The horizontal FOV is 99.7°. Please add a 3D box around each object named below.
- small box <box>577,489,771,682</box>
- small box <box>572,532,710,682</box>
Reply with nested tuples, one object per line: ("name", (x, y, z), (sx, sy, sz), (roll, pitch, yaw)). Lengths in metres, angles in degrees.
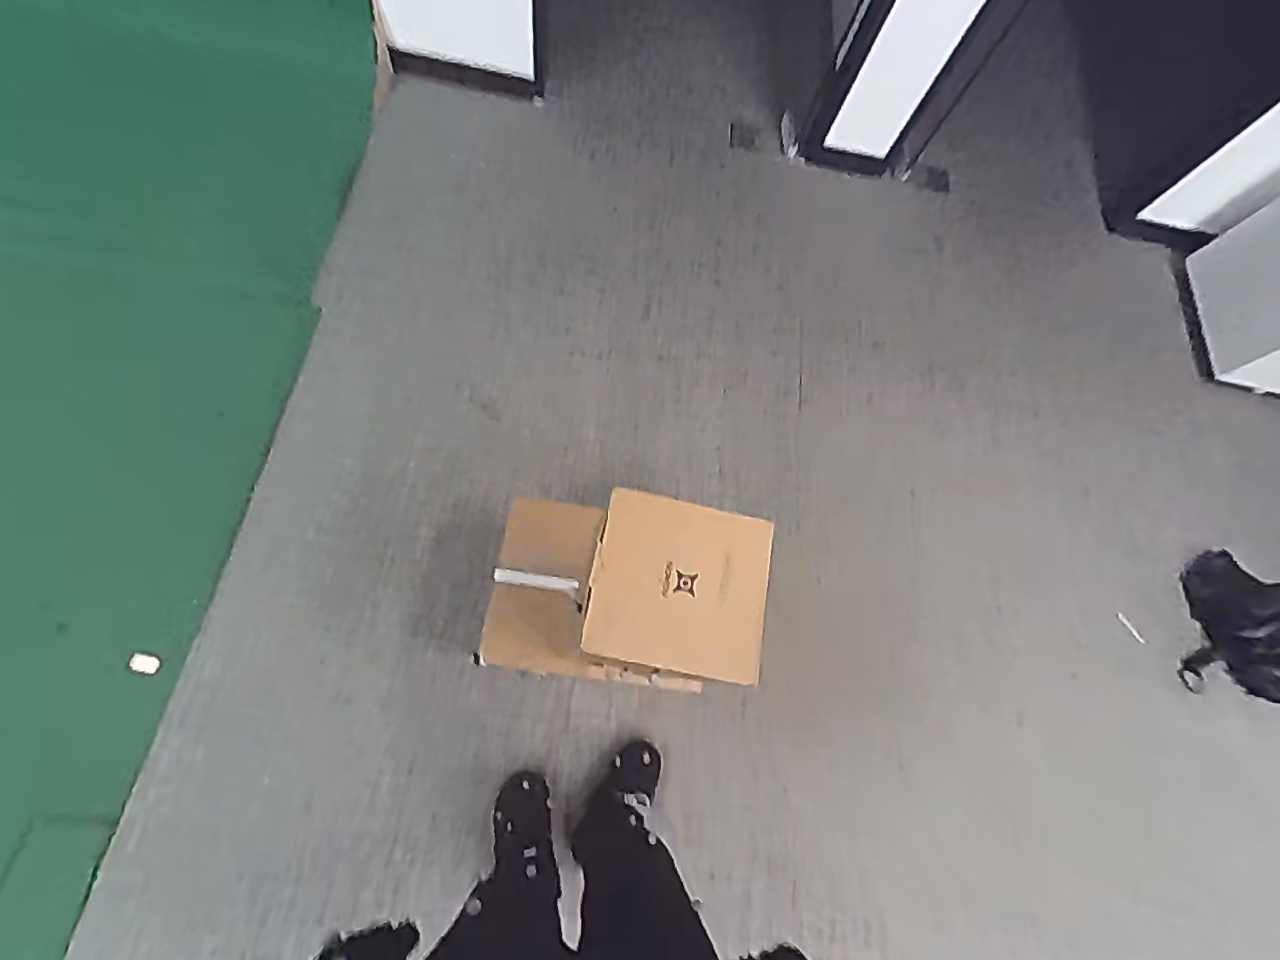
("small box", (0.029, 0.126, 0.606), (0.179, 0.176, 0.168), (12, 70, -5))
("small box", (0.006, 0.180, 0.757), (0.179, 0.176, 0.168), (11, 69, -3))
